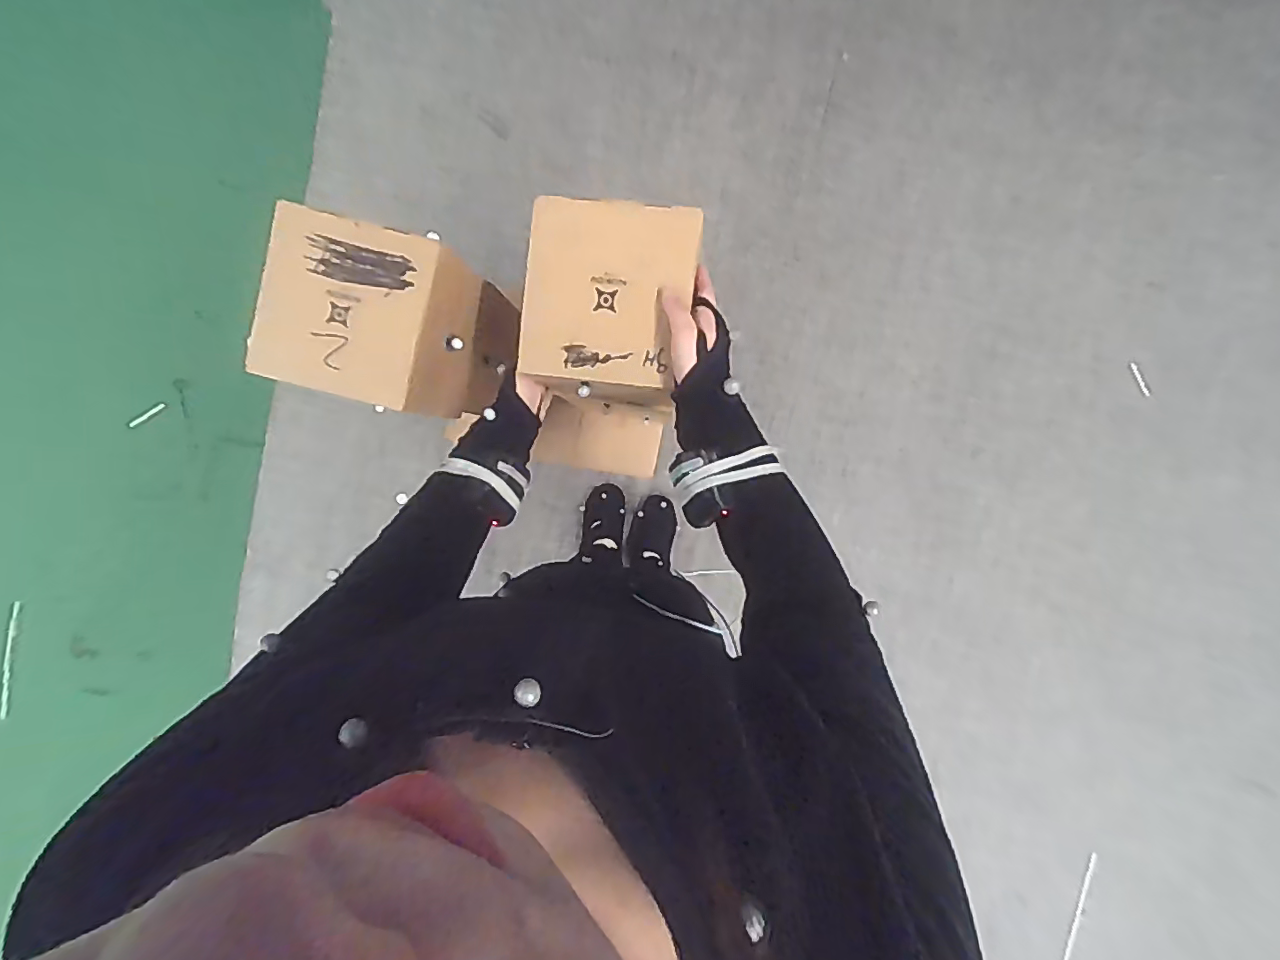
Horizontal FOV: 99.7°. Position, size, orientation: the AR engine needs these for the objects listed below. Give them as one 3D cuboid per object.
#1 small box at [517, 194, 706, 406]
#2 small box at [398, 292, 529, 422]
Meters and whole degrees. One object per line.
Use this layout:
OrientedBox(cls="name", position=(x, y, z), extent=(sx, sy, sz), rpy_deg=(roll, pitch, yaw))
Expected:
OrientedBox(cls="small box", position=(-0.023, -0.185, 0.601), extent=(0.168, 0.176, 0.179), rpy_deg=(8, 94, 5))
OrientedBox(cls="small box", position=(-0.292, -0.203, 0.942), extent=(0.168, 0.176, 0.179), rpy_deg=(13, 94, 0))
